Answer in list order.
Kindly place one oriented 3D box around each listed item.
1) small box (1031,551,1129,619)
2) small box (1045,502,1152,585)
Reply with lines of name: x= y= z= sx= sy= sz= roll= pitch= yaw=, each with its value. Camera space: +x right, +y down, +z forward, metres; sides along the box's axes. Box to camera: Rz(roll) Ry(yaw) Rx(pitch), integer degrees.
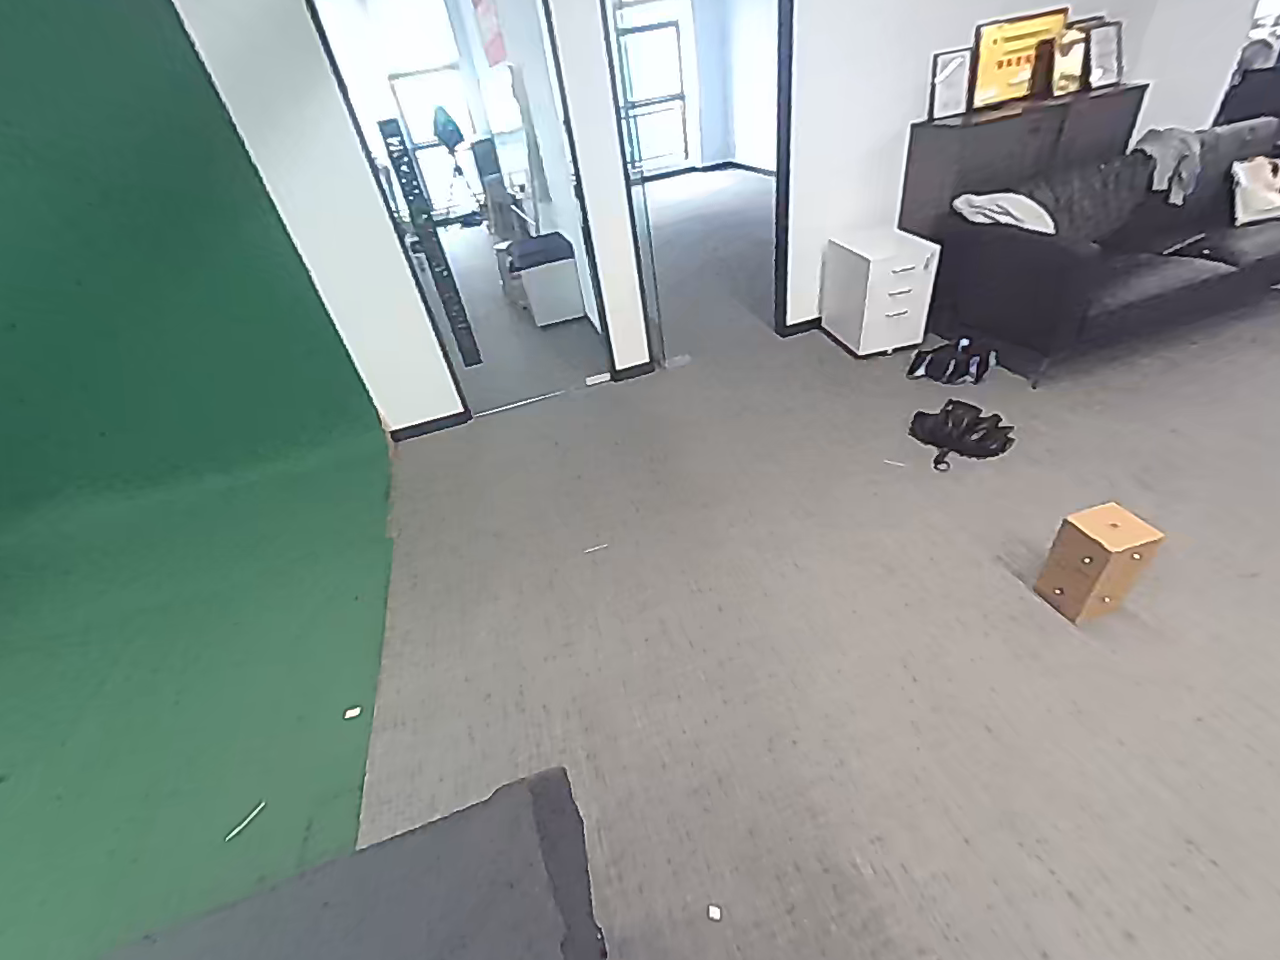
small box: x=1.425 y=0.326 z=1.770 sx=0.179 sy=0.176 sz=0.168 roll=-16 pitch=38 yaw=-7
small box: x=1.402 y=0.198 z=1.671 sx=0.179 sy=0.176 sz=0.168 roll=-15 pitch=38 yaw=-8
